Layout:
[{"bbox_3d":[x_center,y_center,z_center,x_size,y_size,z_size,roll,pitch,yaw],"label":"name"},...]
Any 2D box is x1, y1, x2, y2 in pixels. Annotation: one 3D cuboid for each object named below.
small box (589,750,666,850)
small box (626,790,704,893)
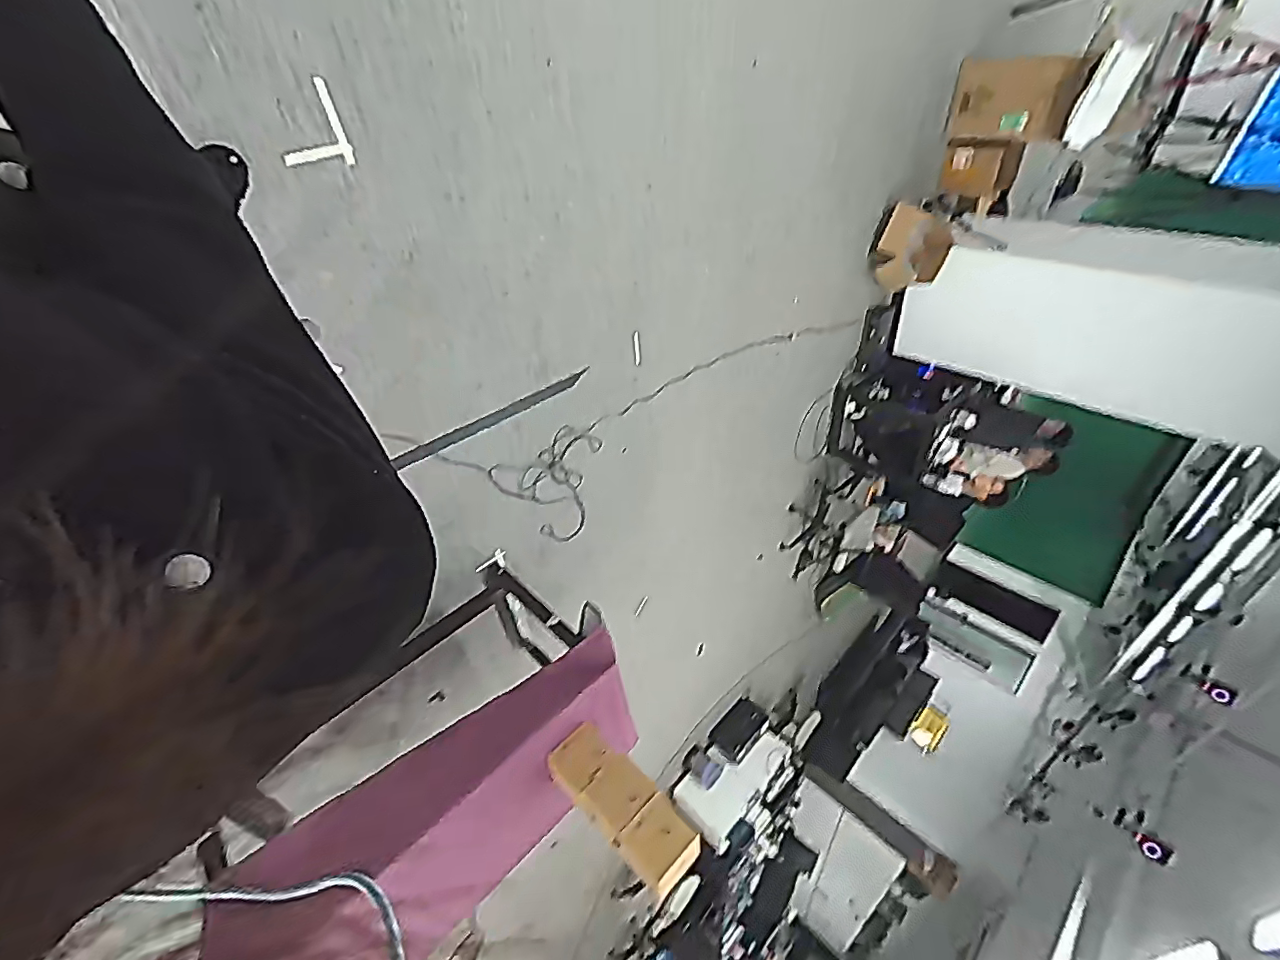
[{"bbox_3d":[-0.040,0.995,1.696,0.179,0.176,0.168,-28,133,-35],"label":"small box"},{"bbox_3d":[0.073,1.058,1.597,0.168,0.176,0.179,-34,137,-31],"label":"small box"}]
